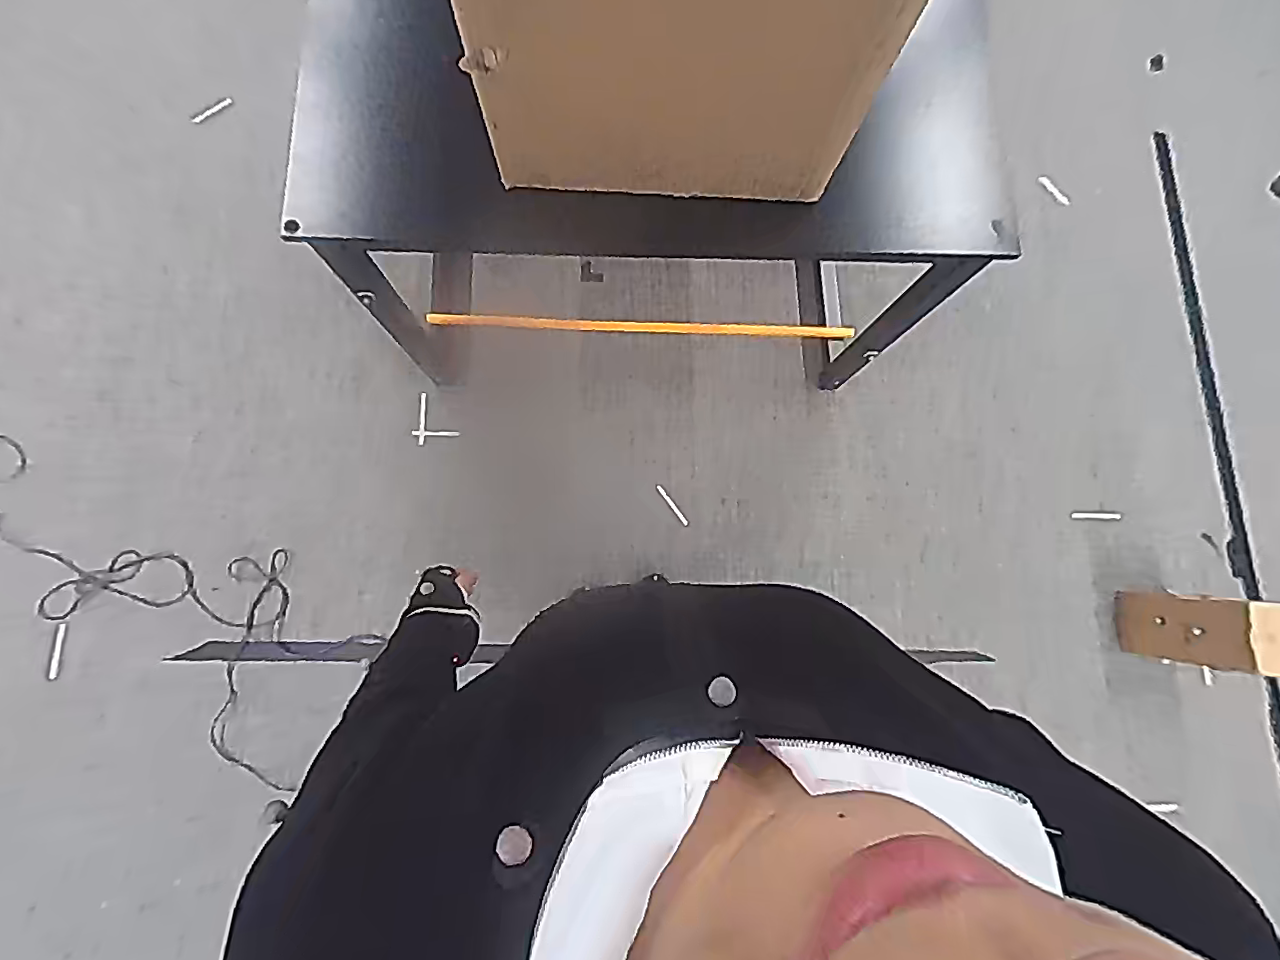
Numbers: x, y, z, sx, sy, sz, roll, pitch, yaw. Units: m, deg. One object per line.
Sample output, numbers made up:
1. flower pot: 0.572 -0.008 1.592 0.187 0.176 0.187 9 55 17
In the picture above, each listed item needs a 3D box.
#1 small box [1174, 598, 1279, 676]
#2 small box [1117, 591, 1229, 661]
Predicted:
1. small box: 1.479 0.379 1.323 0.179 0.176 0.168 4 80 -2
2. small box: 1.464 0.399 1.487 0.168 0.176 0.179 4 81 -2
